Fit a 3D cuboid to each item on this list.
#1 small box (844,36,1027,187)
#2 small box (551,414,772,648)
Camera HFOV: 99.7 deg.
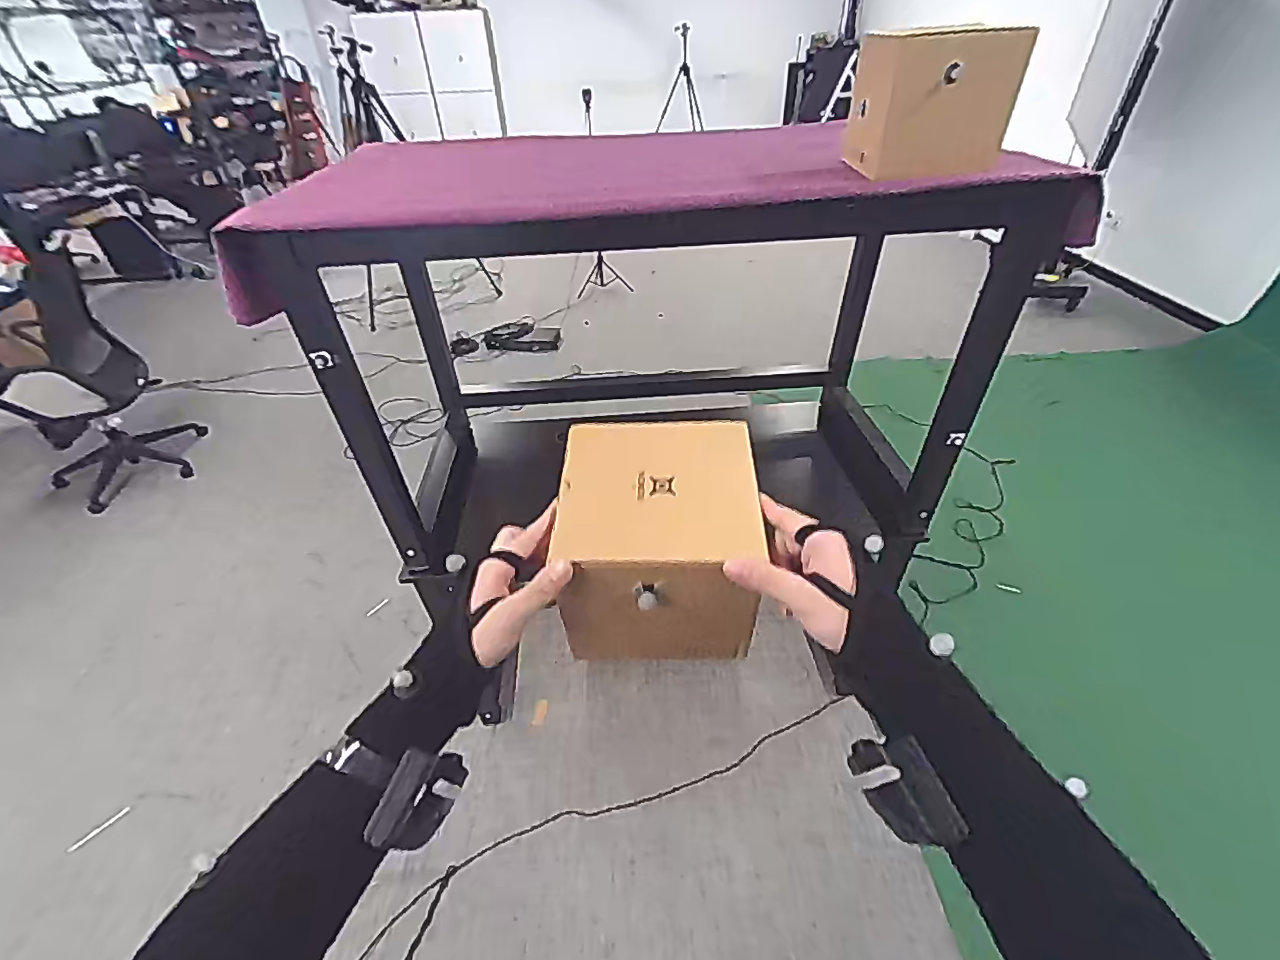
[{"bbox_3d":[0.417,-0.548,0.805,0.179,0.176,0.168,-2,41,2],"label":"small box"},{"bbox_3d":[0.023,0.053,0.534,0.179,0.176,0.168,-2,46,4],"label":"small box"}]
